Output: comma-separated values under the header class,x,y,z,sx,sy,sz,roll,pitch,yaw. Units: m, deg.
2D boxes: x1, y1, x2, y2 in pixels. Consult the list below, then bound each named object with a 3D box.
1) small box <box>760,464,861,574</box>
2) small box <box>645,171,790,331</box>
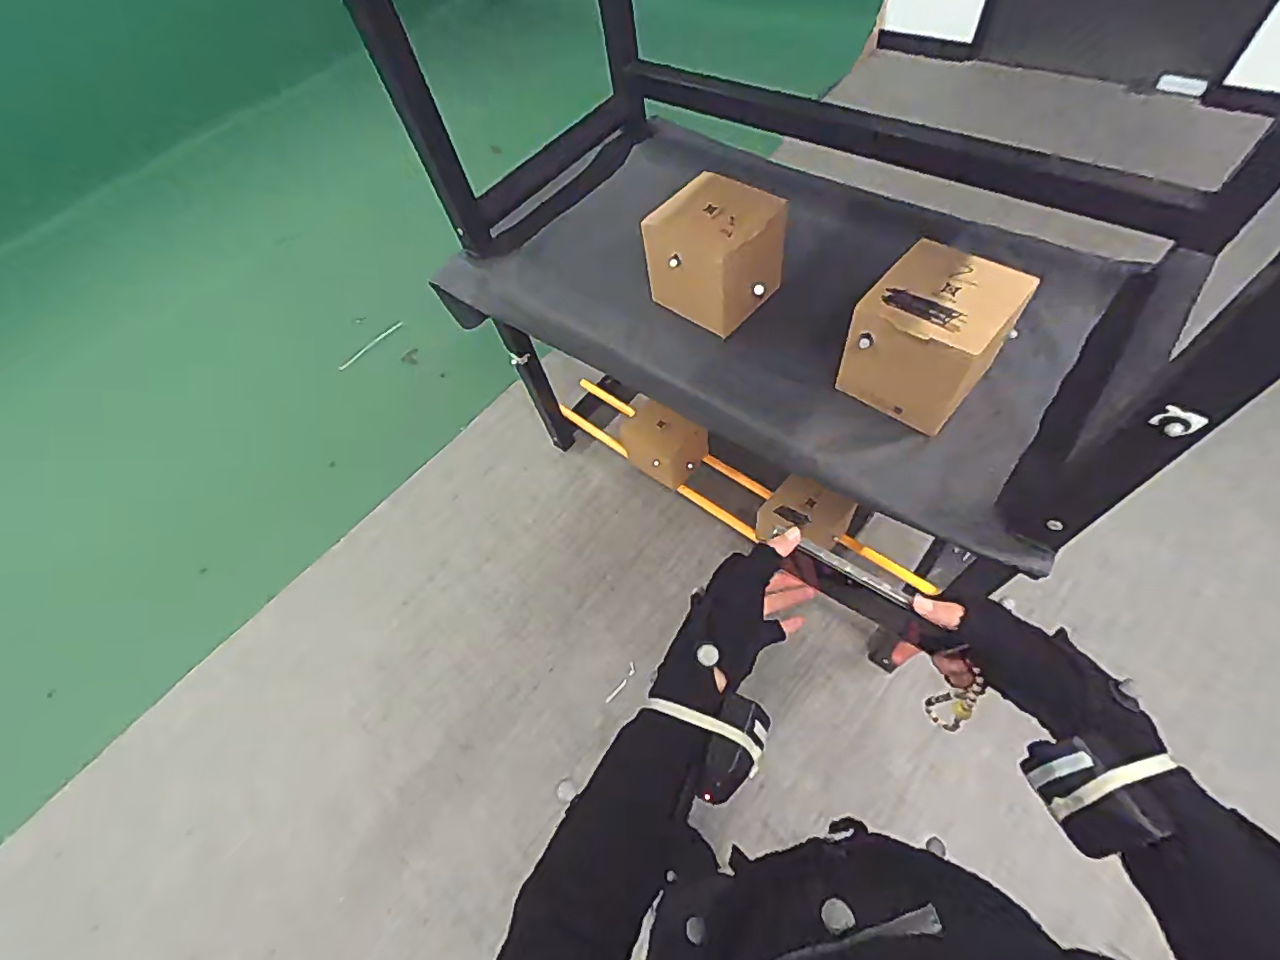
class,x,y,z,sx,sy,sz,roll,pitch,yaw
small box,0.412,0.101,1.327,0.168,0.176,0.179,37,72,26
small box,0.134,-0.390,0.934,0.179,0.176,0.168,36,72,26
